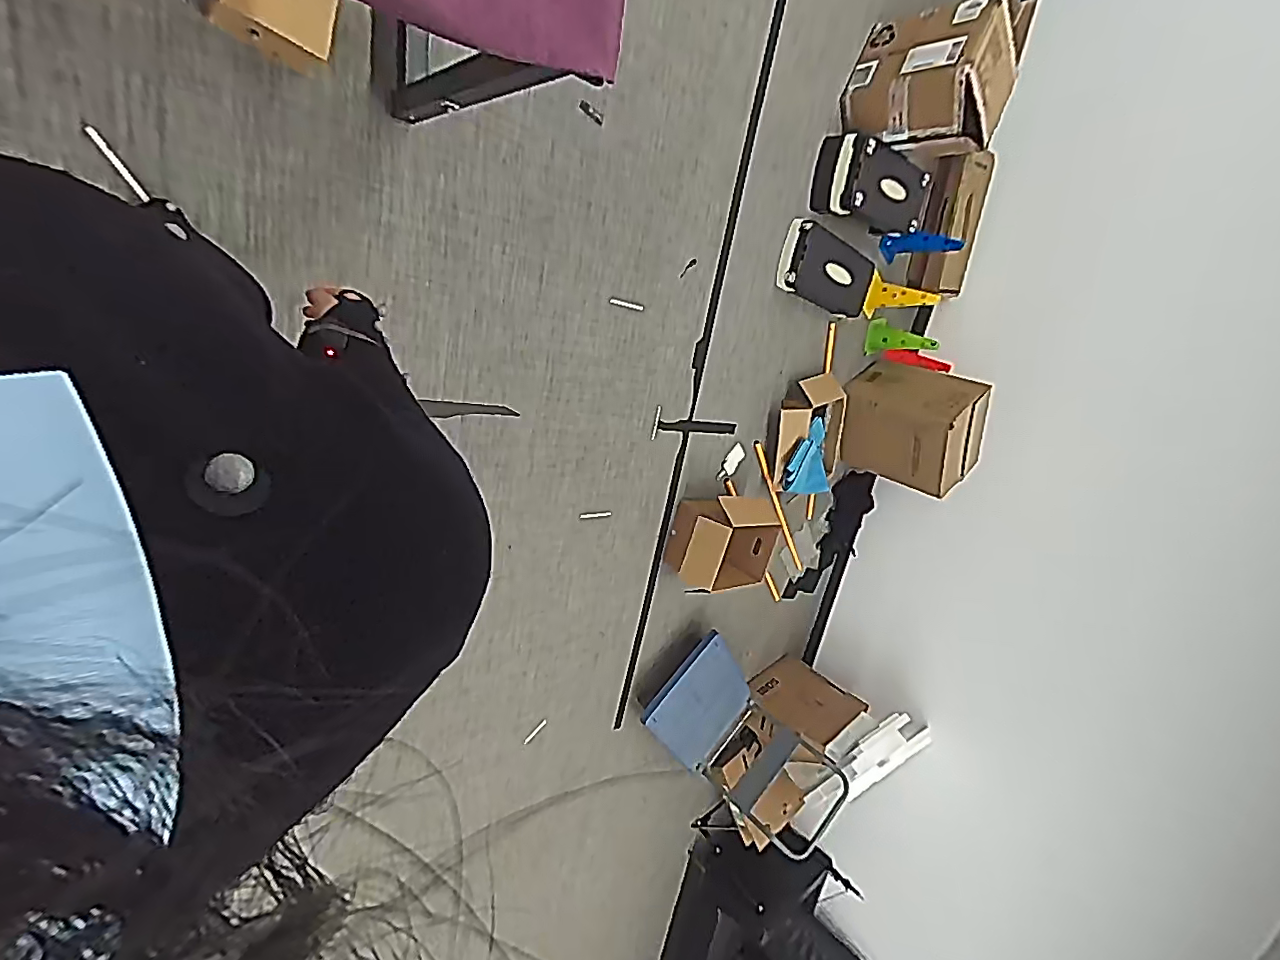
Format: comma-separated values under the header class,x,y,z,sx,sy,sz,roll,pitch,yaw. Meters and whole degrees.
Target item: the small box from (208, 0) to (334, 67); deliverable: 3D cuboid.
class,x,y,z,sx,sy,sz,roll,pitch,yaw
small box,-0.678,-0.912,0.999,0.168,0.176,0.179,7,104,-46
